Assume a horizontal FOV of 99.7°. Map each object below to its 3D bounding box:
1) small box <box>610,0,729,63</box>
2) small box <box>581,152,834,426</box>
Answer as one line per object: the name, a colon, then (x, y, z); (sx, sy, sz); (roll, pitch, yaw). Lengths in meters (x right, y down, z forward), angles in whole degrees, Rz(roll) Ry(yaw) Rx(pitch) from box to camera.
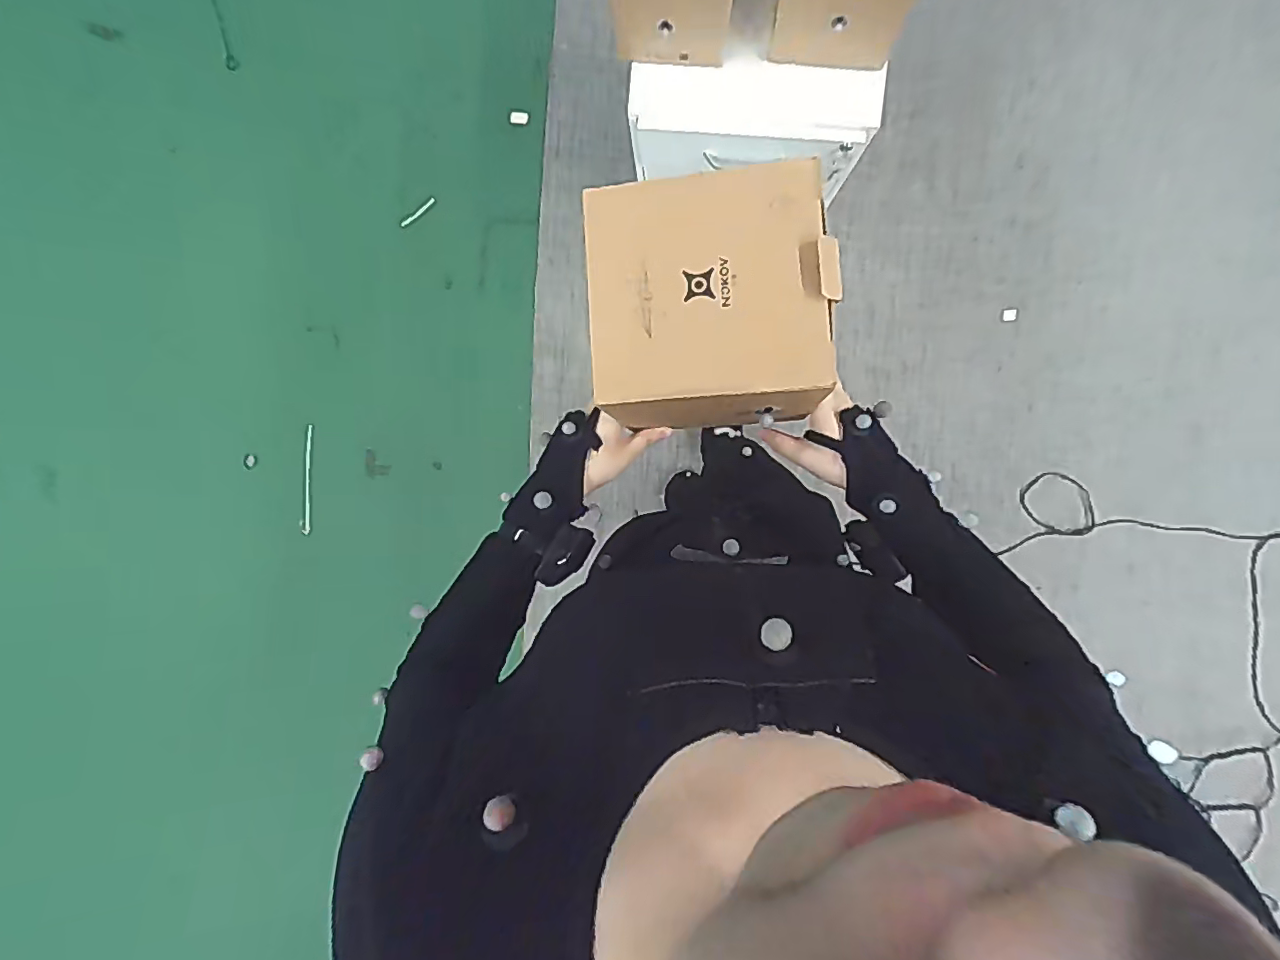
small box: (0.049, -0.731, 0.757); (0.168, 0.176, 0.179); (6, 95, 2)
small box: (0.057, -0.143, 0.468); (0.179, 0.176, 0.168); (-4, 87, 9)
